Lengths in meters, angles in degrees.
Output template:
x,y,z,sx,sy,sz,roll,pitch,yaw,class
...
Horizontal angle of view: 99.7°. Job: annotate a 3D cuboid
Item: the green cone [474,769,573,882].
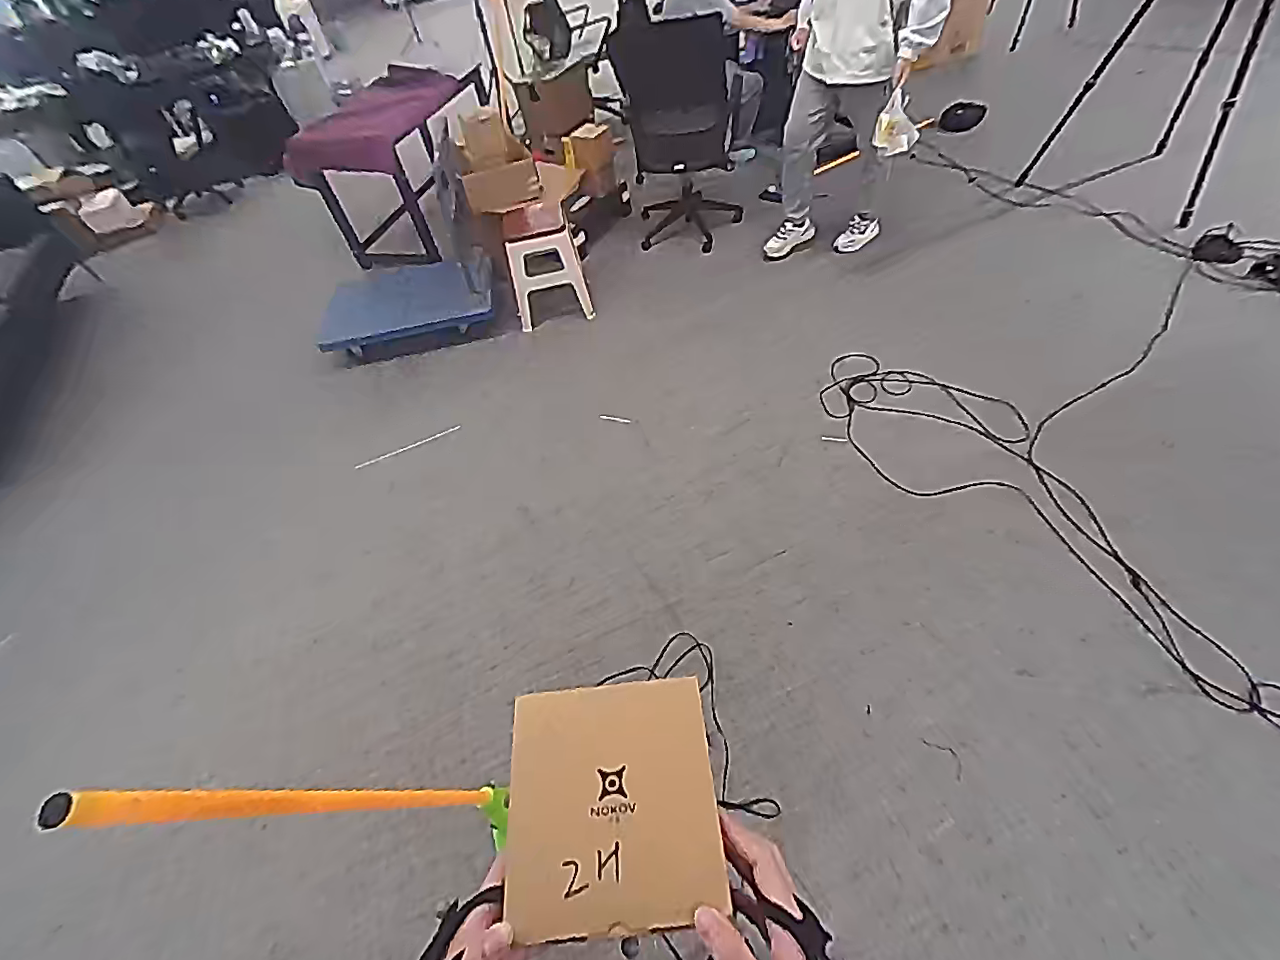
x,y,z,sx,sy,sz,roll,pitch,yaw,class
-0.304,0.759,1.234,0.202,0.368,0.200,-21,52,-10,green cone
